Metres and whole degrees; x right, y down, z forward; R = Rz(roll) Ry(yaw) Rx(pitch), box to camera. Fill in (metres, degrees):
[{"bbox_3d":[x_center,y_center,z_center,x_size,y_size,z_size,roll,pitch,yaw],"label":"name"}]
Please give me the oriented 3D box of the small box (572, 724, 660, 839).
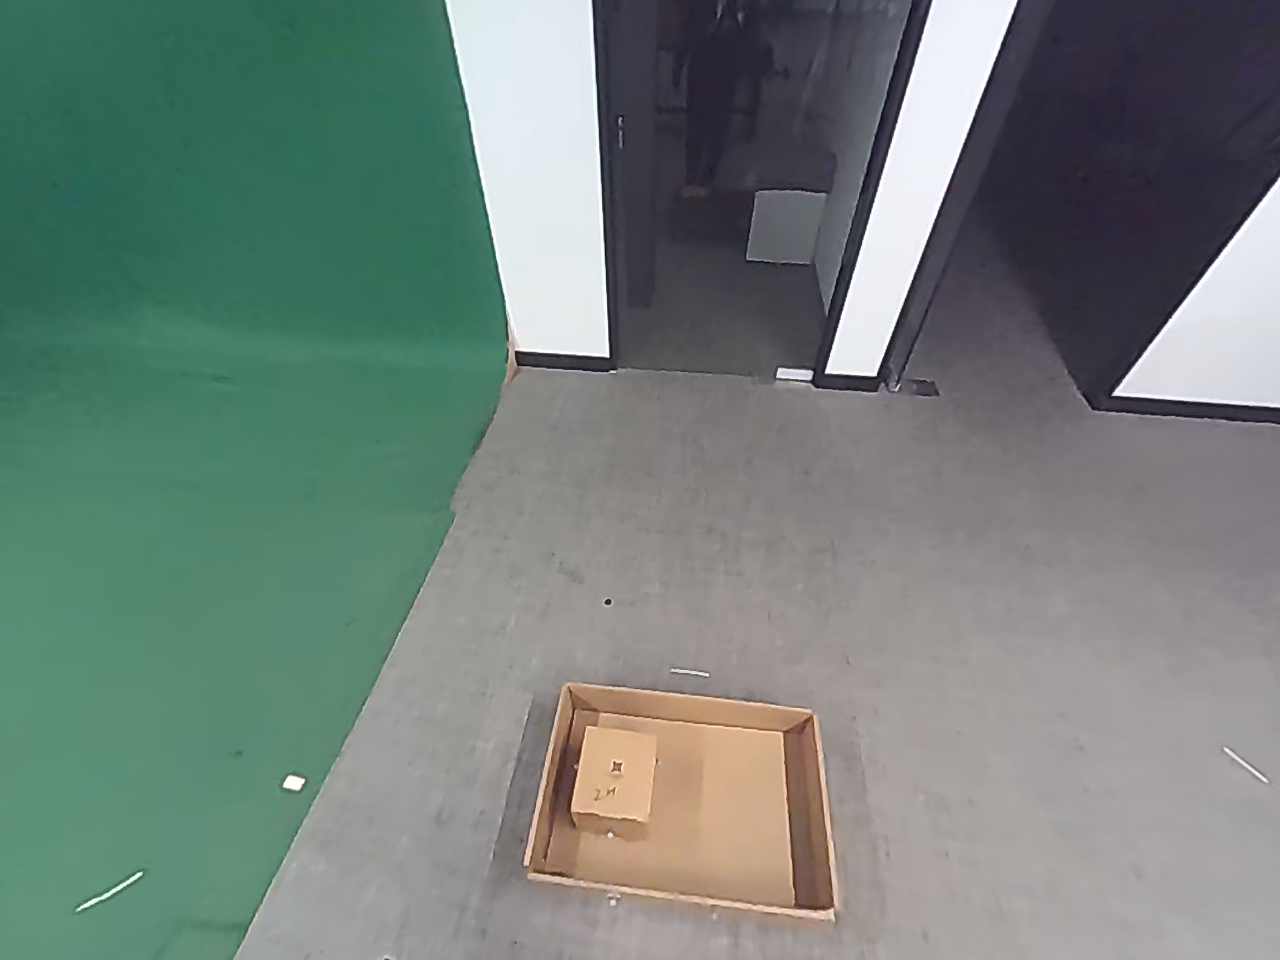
[{"bbox_3d":[-0.050,0.679,1.217,0.168,0.176,0.179,6,46,5],"label":"small box"}]
